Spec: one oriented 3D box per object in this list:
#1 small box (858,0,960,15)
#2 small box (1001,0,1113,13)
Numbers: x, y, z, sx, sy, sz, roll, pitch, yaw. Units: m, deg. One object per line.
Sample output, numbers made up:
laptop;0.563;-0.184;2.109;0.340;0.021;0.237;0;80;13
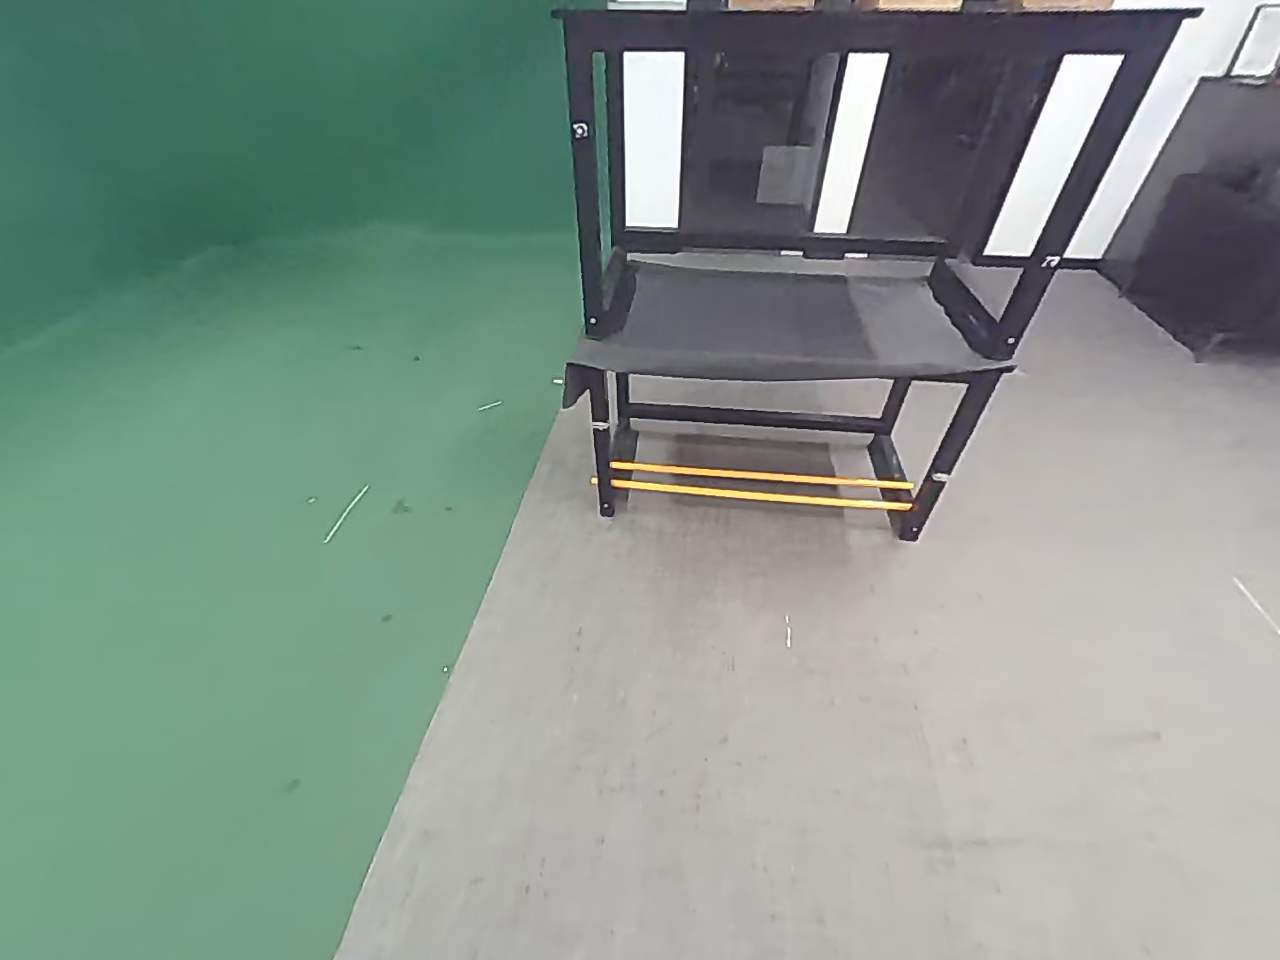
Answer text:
small box;0.561;-1.056;1.093;0.168;0.176;0.179;1;41;1
small box;0.854;-1.041;1.070;0.168;0.176;0.179;7;43;9
